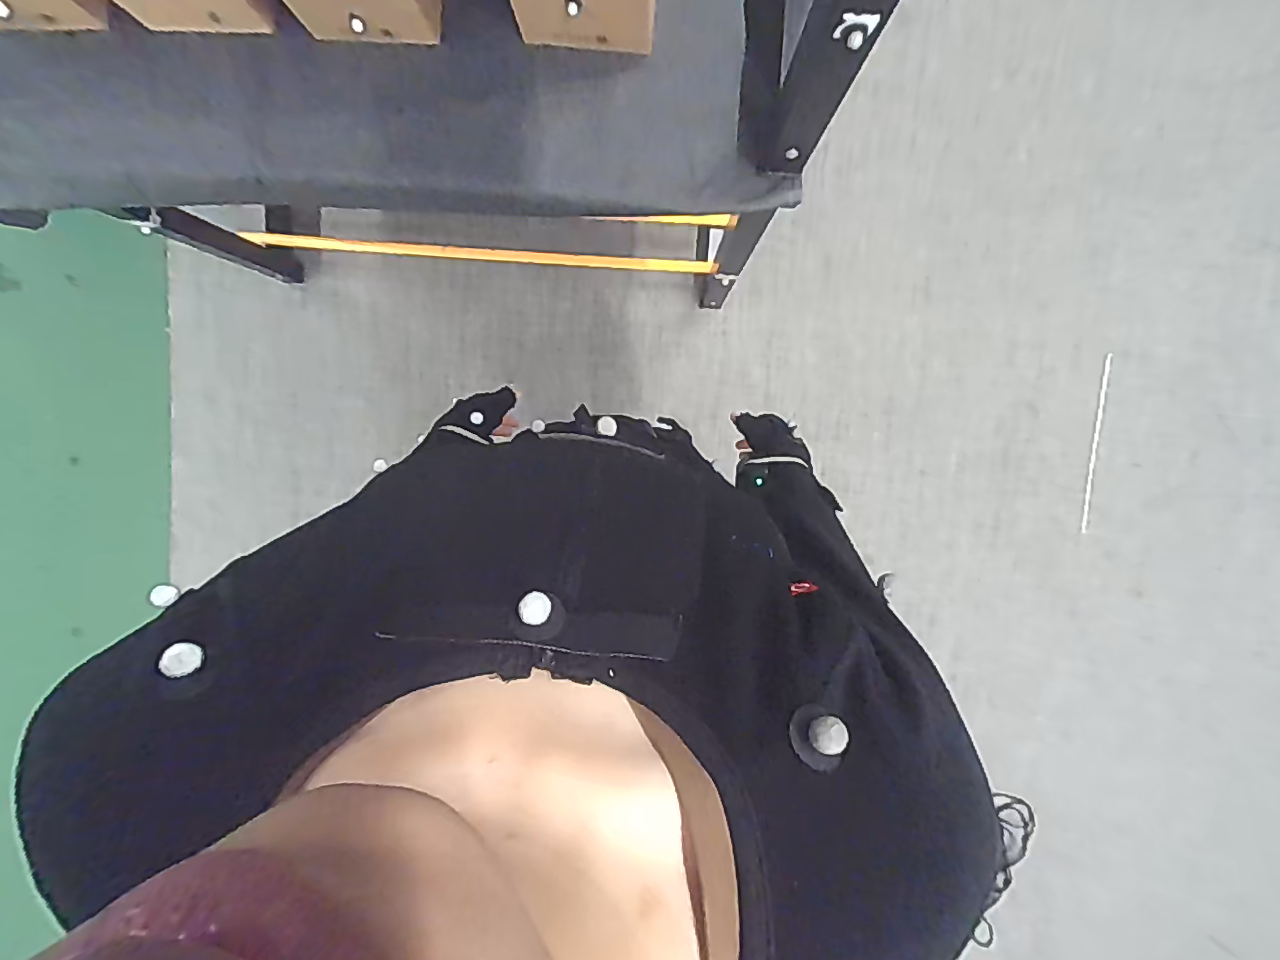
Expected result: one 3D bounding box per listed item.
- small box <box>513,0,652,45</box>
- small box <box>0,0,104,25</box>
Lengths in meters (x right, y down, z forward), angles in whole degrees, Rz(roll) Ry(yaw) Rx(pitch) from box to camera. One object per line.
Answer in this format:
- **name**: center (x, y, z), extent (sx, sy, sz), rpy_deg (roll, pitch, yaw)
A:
- **small box**: center (-0.064, -0.634, 0.601), extent (0.168, 0.176, 0.179), rpy_deg (7, 96, 0)
- **small box**: center (-0.773, -0.673, 0.615), extent (0.168, 0.176, 0.179), rpy_deg (1, 96, 1)
